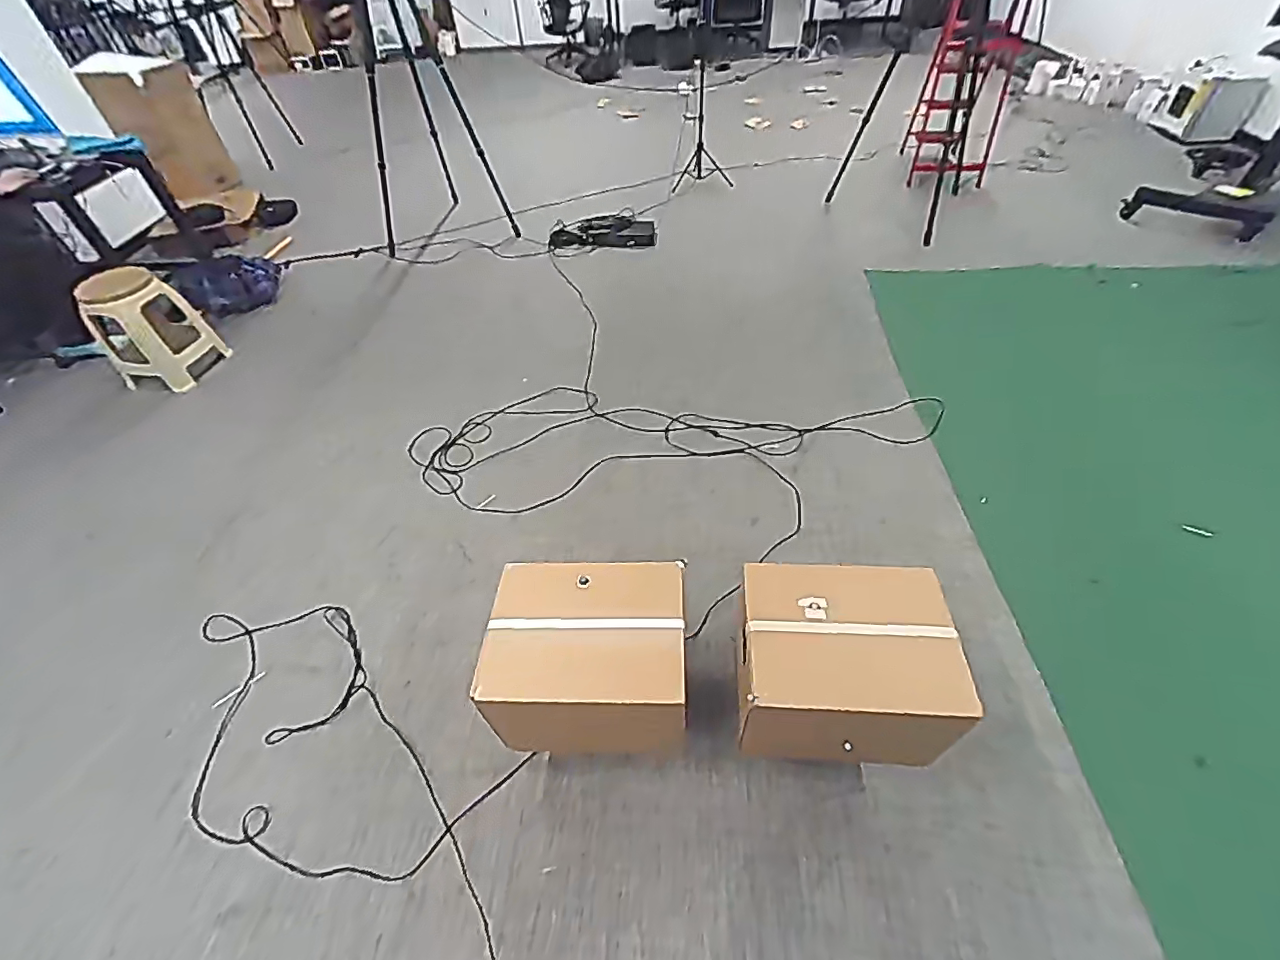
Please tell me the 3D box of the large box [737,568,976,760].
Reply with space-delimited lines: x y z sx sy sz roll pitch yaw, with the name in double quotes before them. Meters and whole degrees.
"large box" 0.431 0.408 1.197 0.408 0.320 0.320 1 47 6
